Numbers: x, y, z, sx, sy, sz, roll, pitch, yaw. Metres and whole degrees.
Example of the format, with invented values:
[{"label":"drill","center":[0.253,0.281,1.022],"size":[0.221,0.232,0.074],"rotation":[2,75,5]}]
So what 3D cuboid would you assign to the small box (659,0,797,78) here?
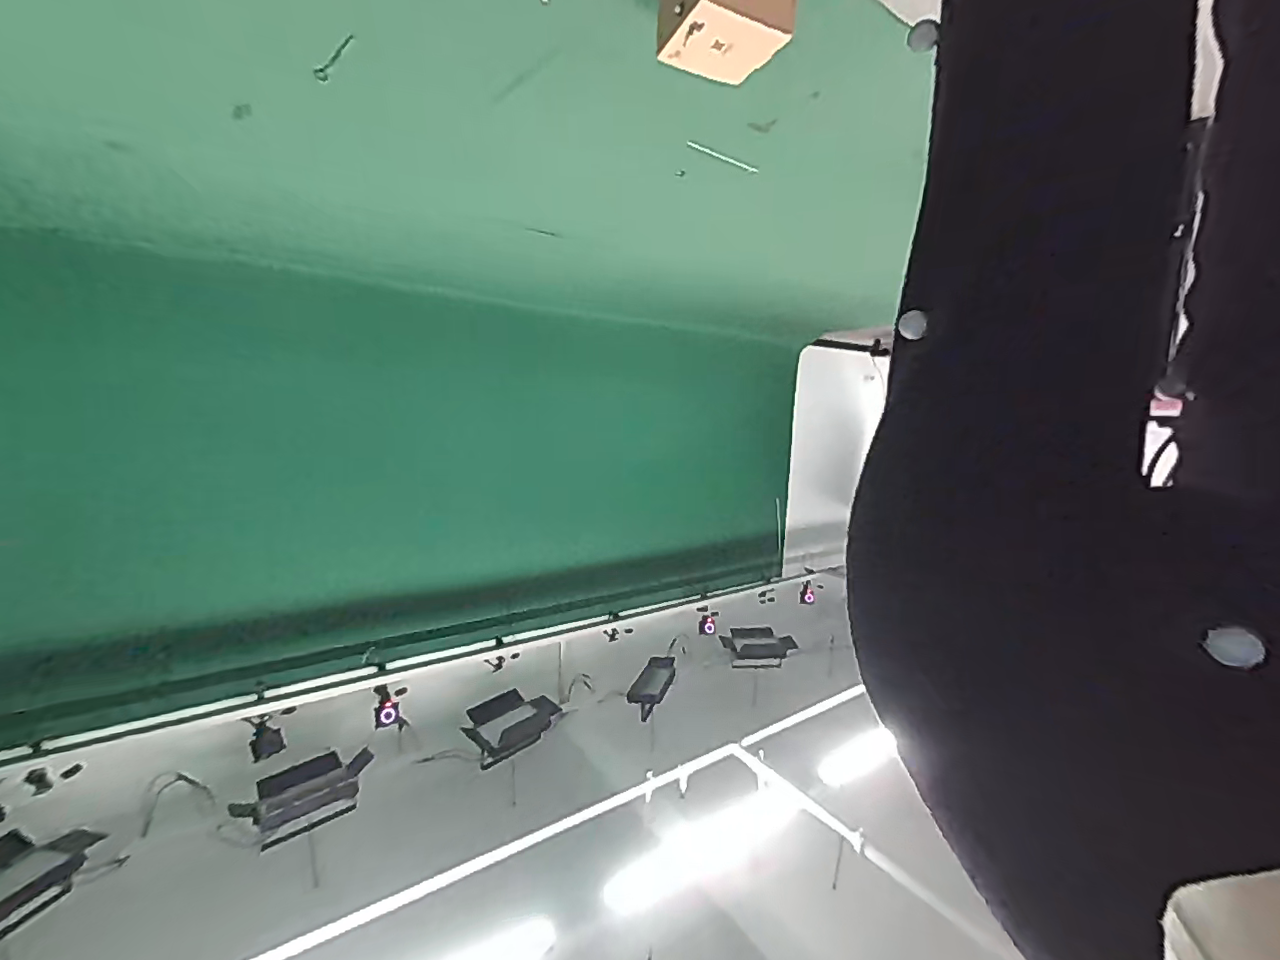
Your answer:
[{"label":"small box","center":[0.147,-0.819,0.897],"size":[0.179,0.176,0.168],"rotation":[-2,-170,-24]}]
